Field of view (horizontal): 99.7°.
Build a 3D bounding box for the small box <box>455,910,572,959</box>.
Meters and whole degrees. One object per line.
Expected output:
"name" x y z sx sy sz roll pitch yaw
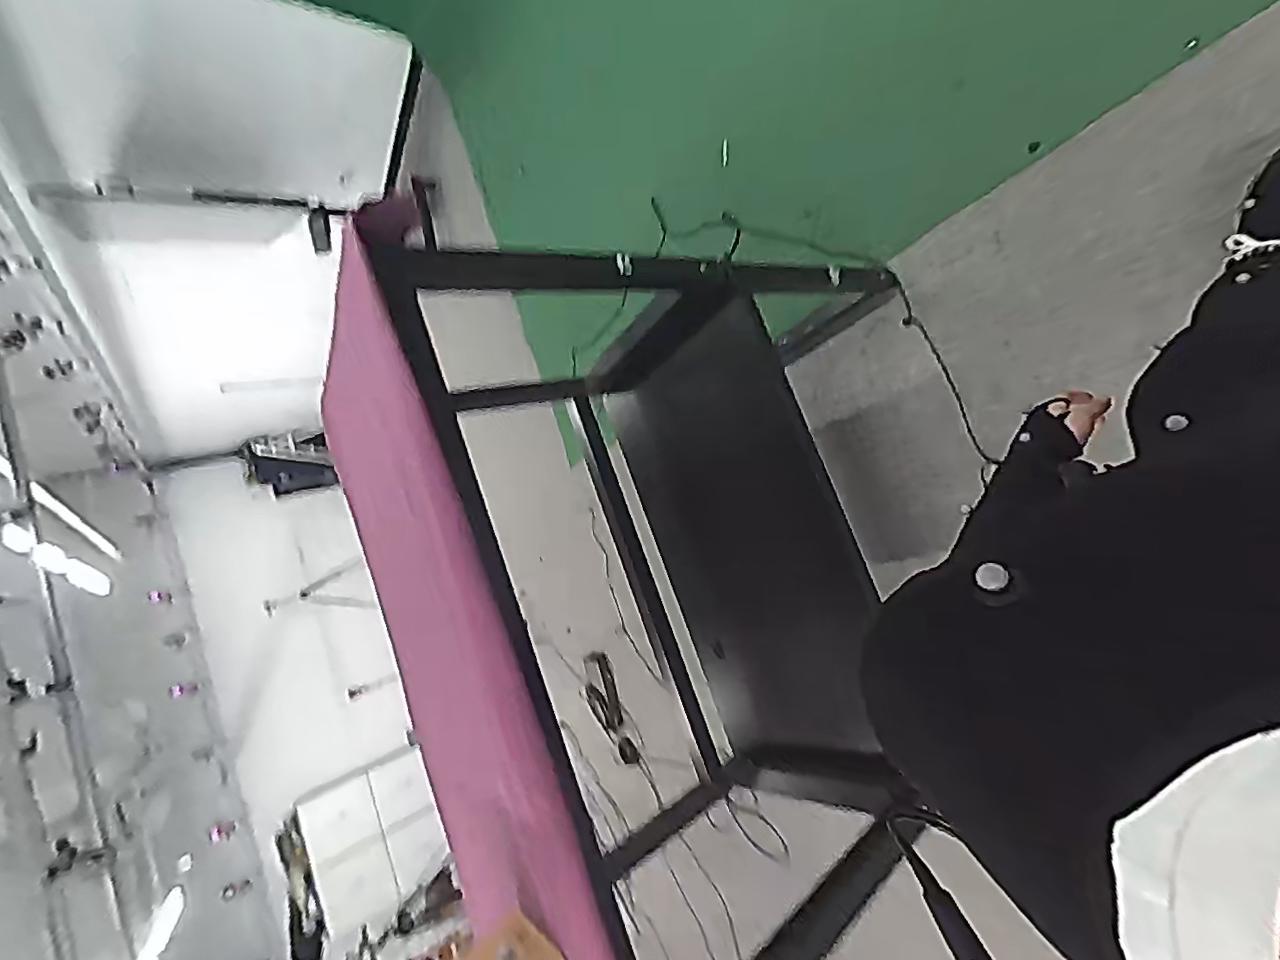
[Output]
"small box" -0.154 0.682 0.648 0.168 0.176 0.179 -30 77 54
